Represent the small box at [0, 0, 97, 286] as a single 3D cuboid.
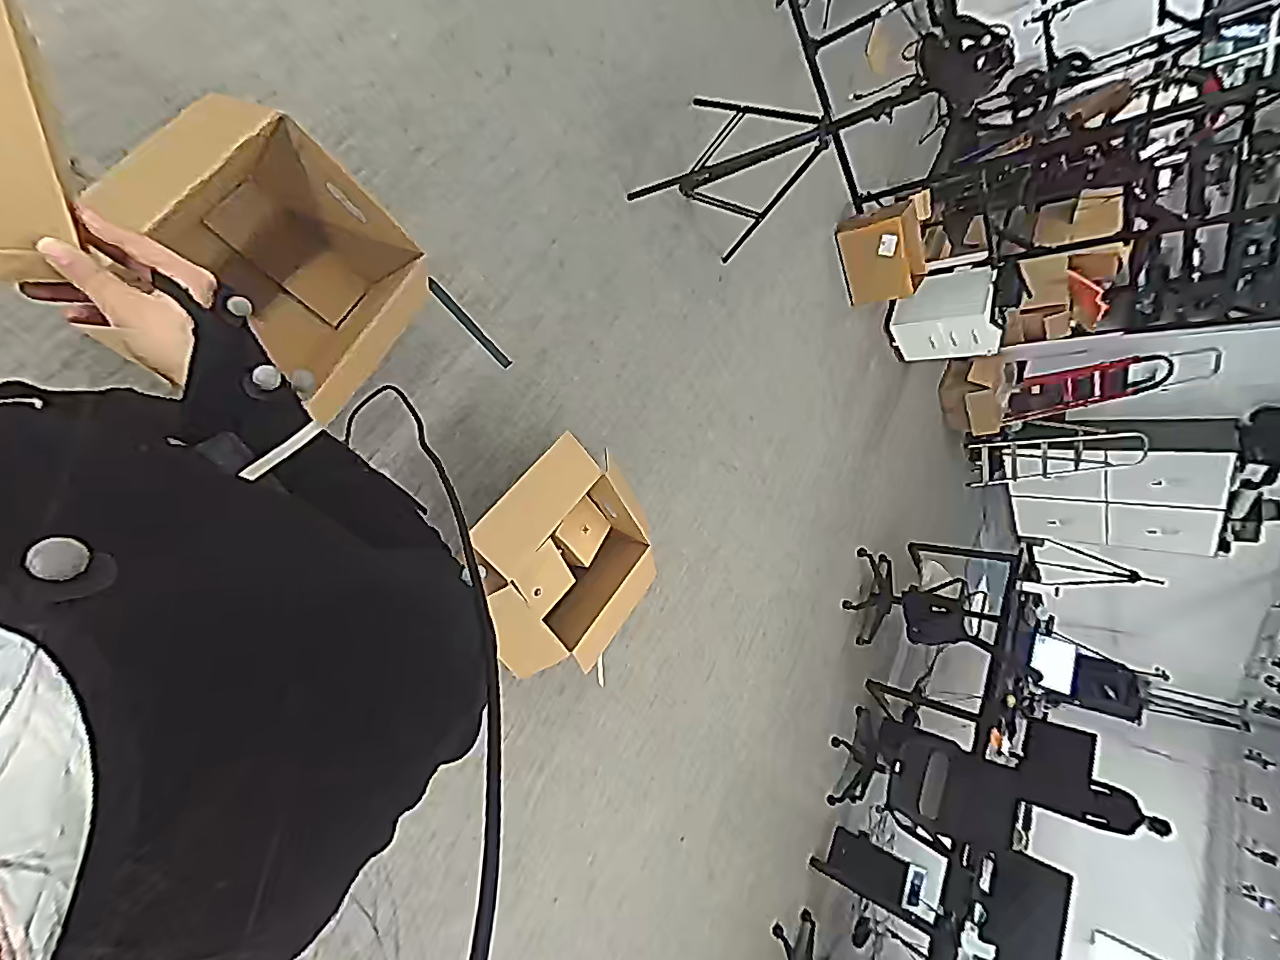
[{"bbox_3d":[-0.446,-0.199,0.300,0.179,0.176,0.168,-15,117,-39],"label":"small box"}]
